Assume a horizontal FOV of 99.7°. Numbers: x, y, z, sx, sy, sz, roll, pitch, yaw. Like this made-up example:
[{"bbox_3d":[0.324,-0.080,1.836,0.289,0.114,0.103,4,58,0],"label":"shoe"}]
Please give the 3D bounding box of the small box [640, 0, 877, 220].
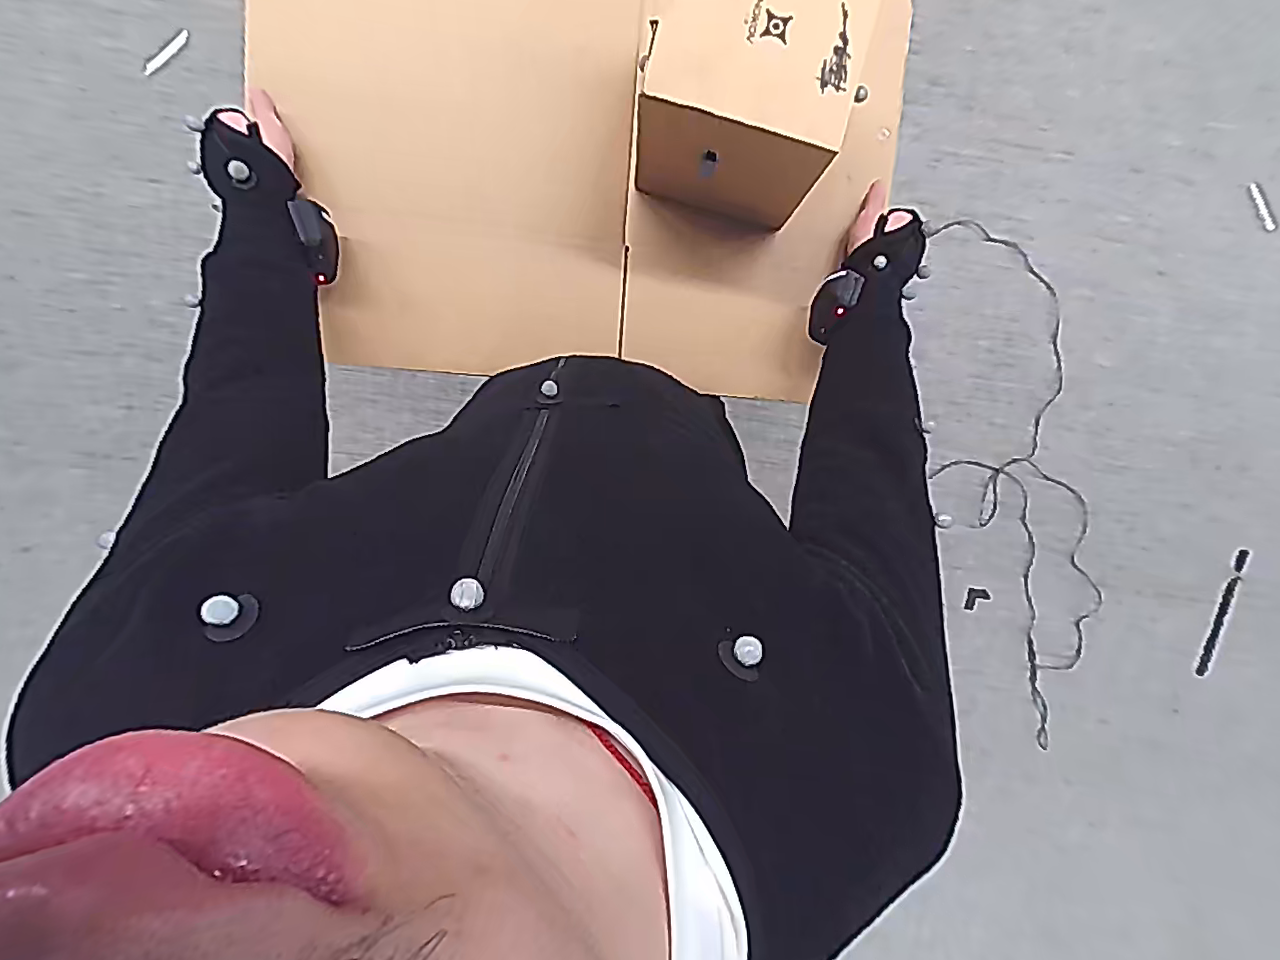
[{"bbox_3d":[0.102,-0.383,0.530,0.179,0.176,0.168,15,94,-2],"label":"small box"}]
